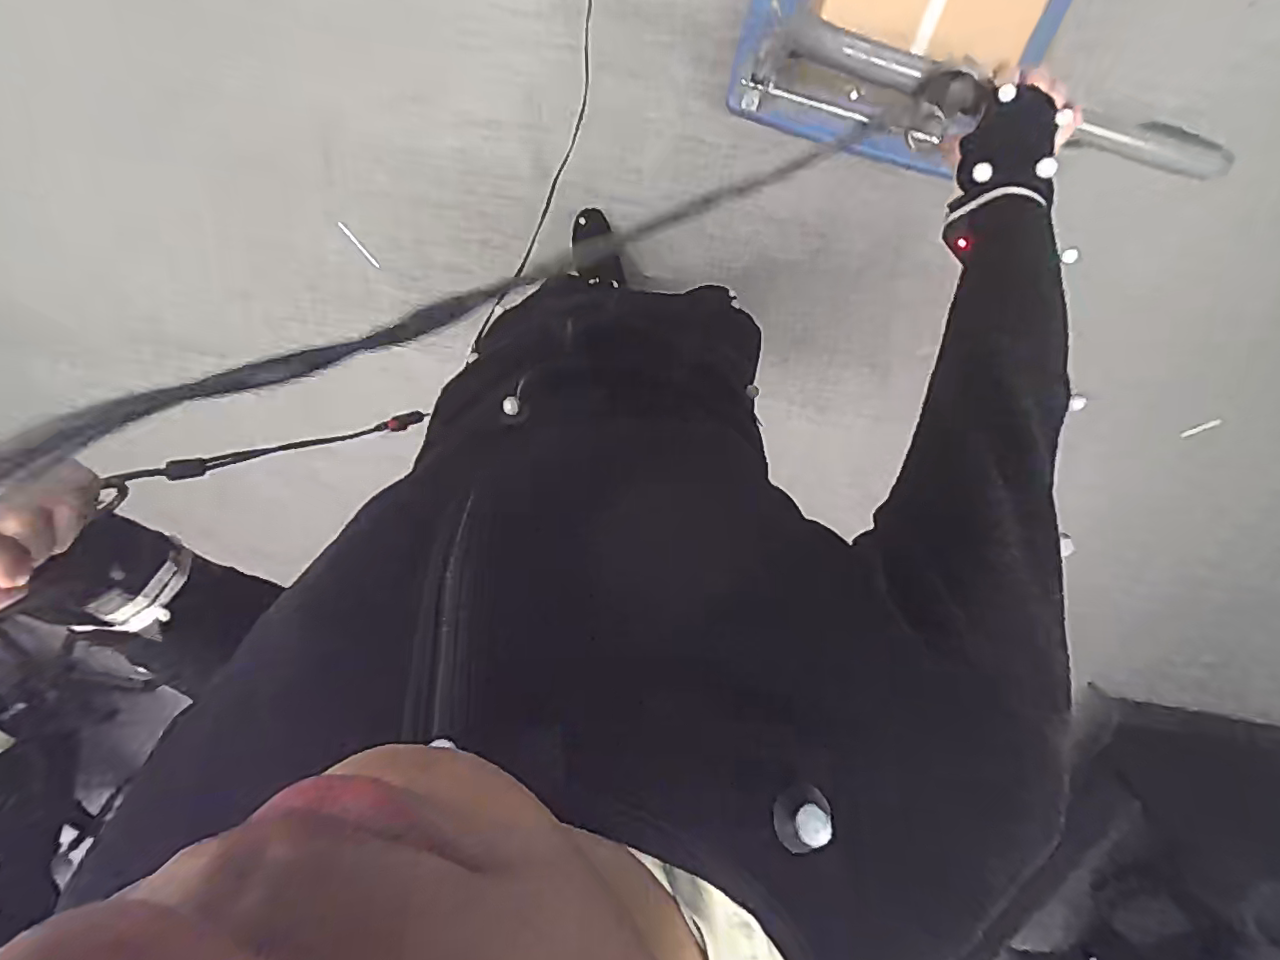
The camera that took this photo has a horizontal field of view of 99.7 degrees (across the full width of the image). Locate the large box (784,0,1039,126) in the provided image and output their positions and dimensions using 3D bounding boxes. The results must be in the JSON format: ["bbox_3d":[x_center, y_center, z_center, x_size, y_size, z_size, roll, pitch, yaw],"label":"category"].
[{"bbox_3d":[0.472,-0.873,0.894,0.320,0.320,0.408,16,117,-4],"label":"large box"}]
